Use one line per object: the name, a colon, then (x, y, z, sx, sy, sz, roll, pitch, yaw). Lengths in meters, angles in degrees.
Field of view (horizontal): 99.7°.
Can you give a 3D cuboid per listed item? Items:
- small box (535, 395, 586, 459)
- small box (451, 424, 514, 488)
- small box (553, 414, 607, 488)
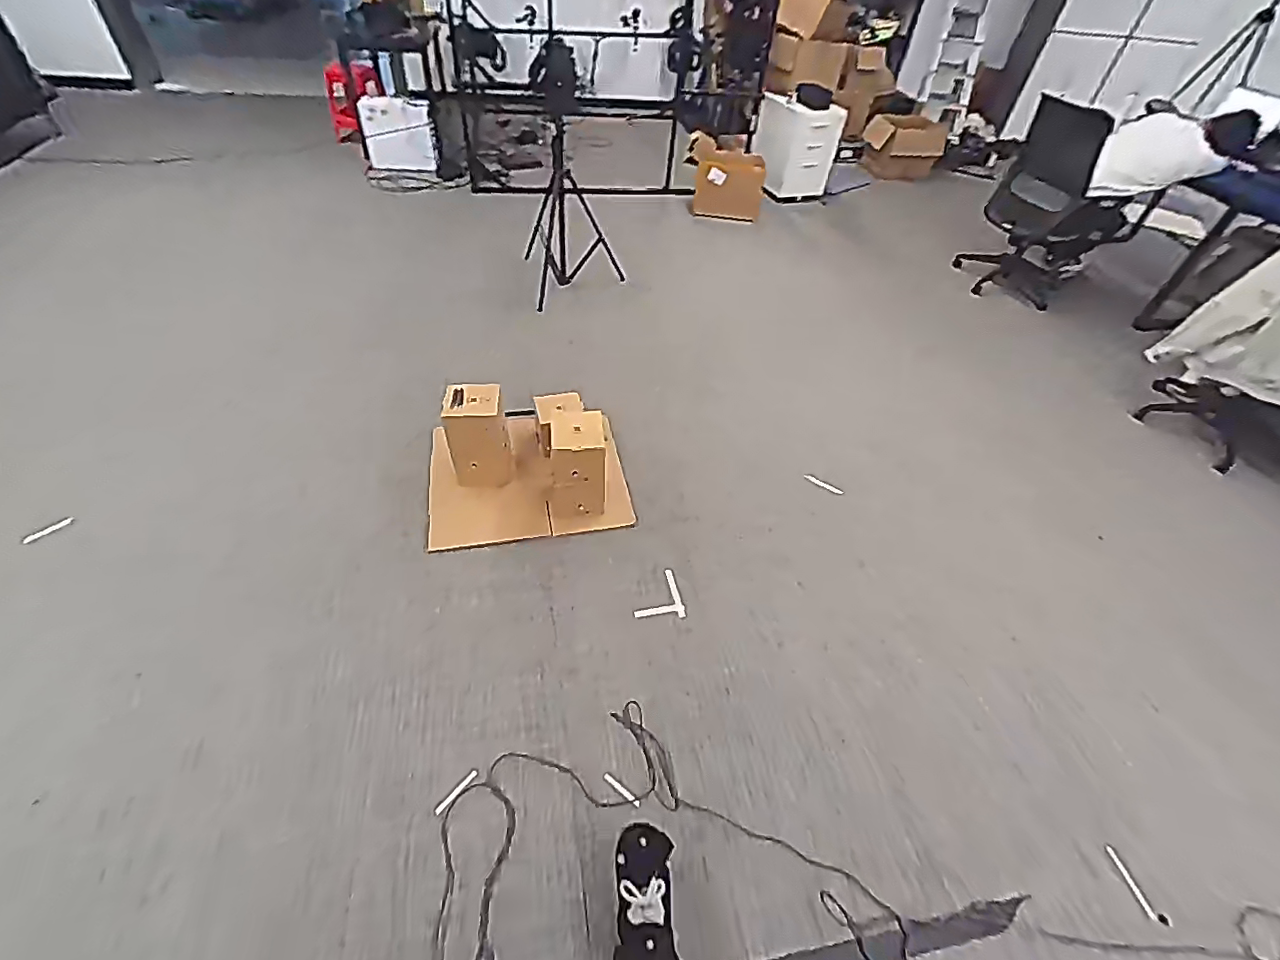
small box: (-0.301, -0.203, 2.085, 0.179, 0.176, 0.168, -10, 48, -14)
small box: (-0.560, -0.085, 1.944, 0.179, 0.176, 0.168, -1, 47, -4)
small box: (-0.200, -0.094, 1.766, 0.168, 0.176, 0.179, -4, 49, -9)
